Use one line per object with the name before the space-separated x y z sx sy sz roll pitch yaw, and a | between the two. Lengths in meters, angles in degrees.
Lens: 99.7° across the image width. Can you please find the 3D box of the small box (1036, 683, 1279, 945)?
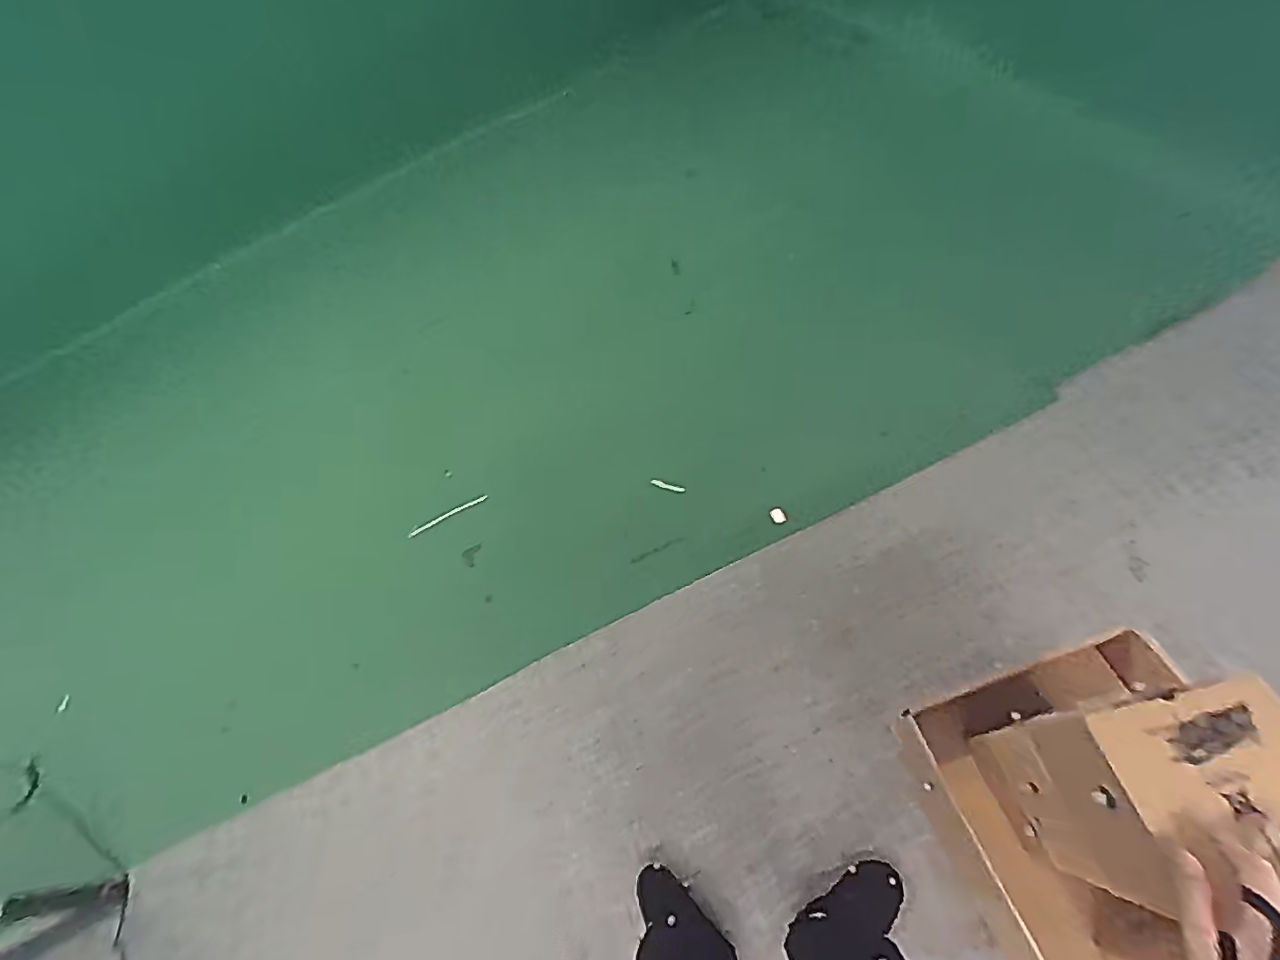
small box | 0.552 0.325 0.545 0.168 0.176 0.179 -18 59 7

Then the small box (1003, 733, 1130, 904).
small box | 0.598 0.402 0.683 0.179 0.176 0.168 -20 59 5
